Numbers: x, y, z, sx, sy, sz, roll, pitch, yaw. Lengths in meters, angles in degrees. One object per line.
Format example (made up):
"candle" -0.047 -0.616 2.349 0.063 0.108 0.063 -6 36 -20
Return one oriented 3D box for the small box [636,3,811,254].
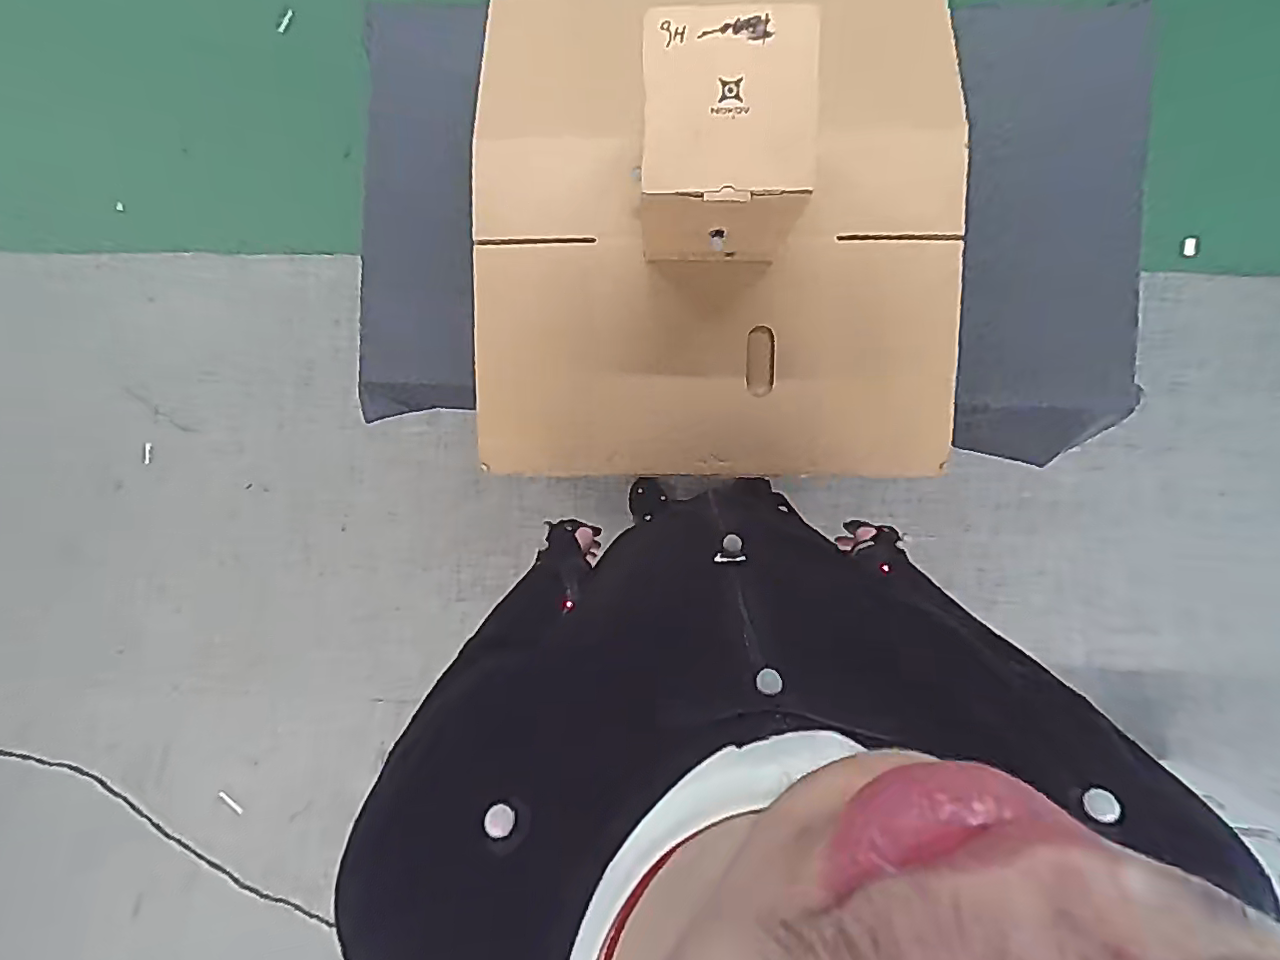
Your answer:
"small box" 0.084 -0.359 0.590 0.168 0.176 0.179 -1 92 3
